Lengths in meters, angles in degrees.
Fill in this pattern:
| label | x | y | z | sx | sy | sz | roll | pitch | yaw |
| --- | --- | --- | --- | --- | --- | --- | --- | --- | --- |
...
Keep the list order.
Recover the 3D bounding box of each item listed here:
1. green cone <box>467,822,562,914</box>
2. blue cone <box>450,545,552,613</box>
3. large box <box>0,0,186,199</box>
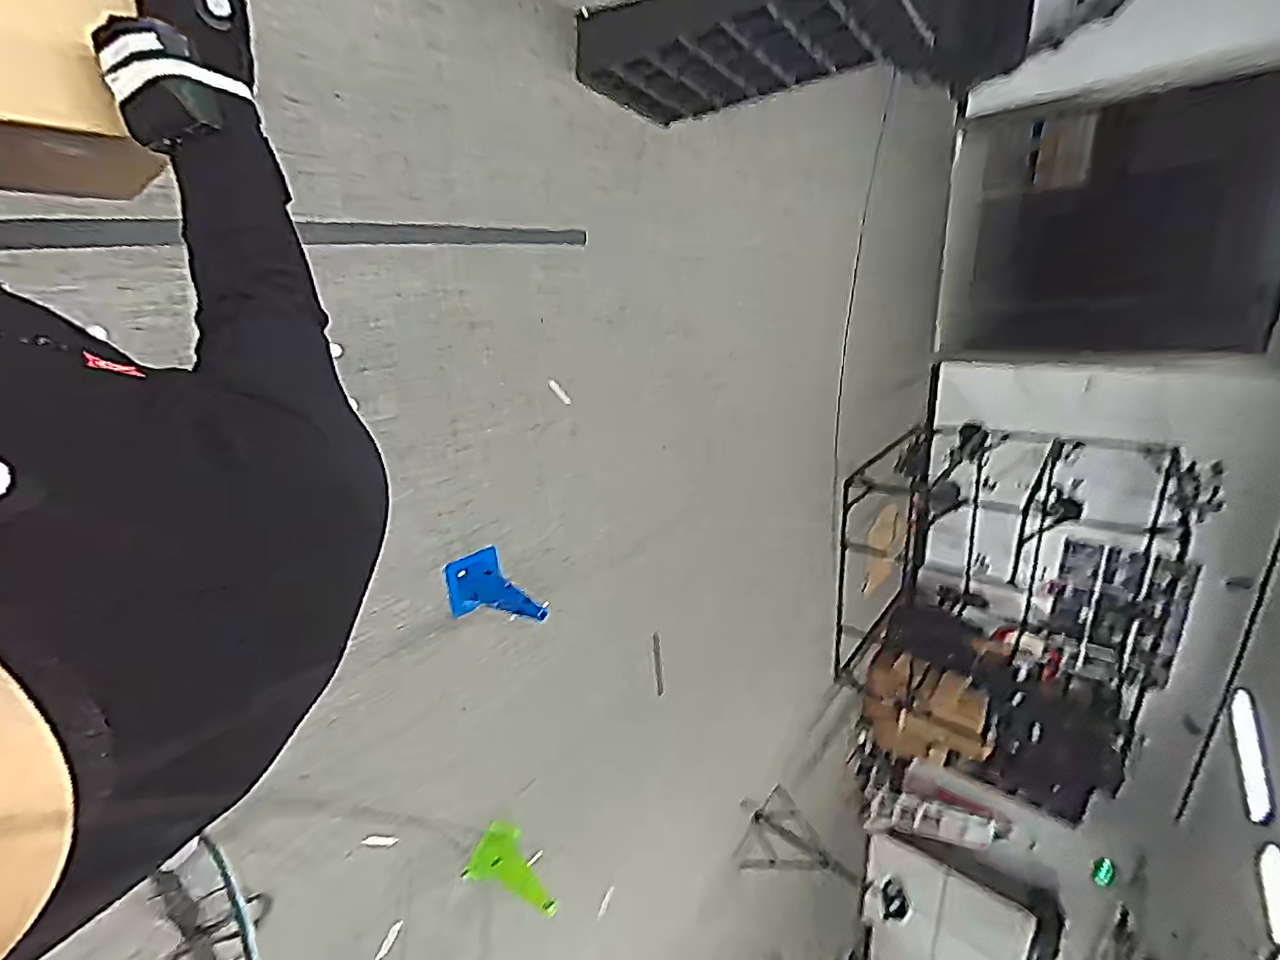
| label | x | y | z | sx | sy | sz | roll | pitch | yaw |
| --- | --- | --- | --- | --- | --- | --- | --- | --- | --- |
| green cone | -0.424 | 1.460 | 1.980 | 0.200 | 0.368 | 0.202 | 51 | 59 | -44 |
| blue cone | -0.426 | 0.357 | 1.725 | 0.192 | 0.380 | 0.193 | -22 | 116 | -47 |
| large box | -0.601 | -0.380 | 0.328 | 0.408 | 0.320 | 0.320 | -21 | 117 | -45 |
